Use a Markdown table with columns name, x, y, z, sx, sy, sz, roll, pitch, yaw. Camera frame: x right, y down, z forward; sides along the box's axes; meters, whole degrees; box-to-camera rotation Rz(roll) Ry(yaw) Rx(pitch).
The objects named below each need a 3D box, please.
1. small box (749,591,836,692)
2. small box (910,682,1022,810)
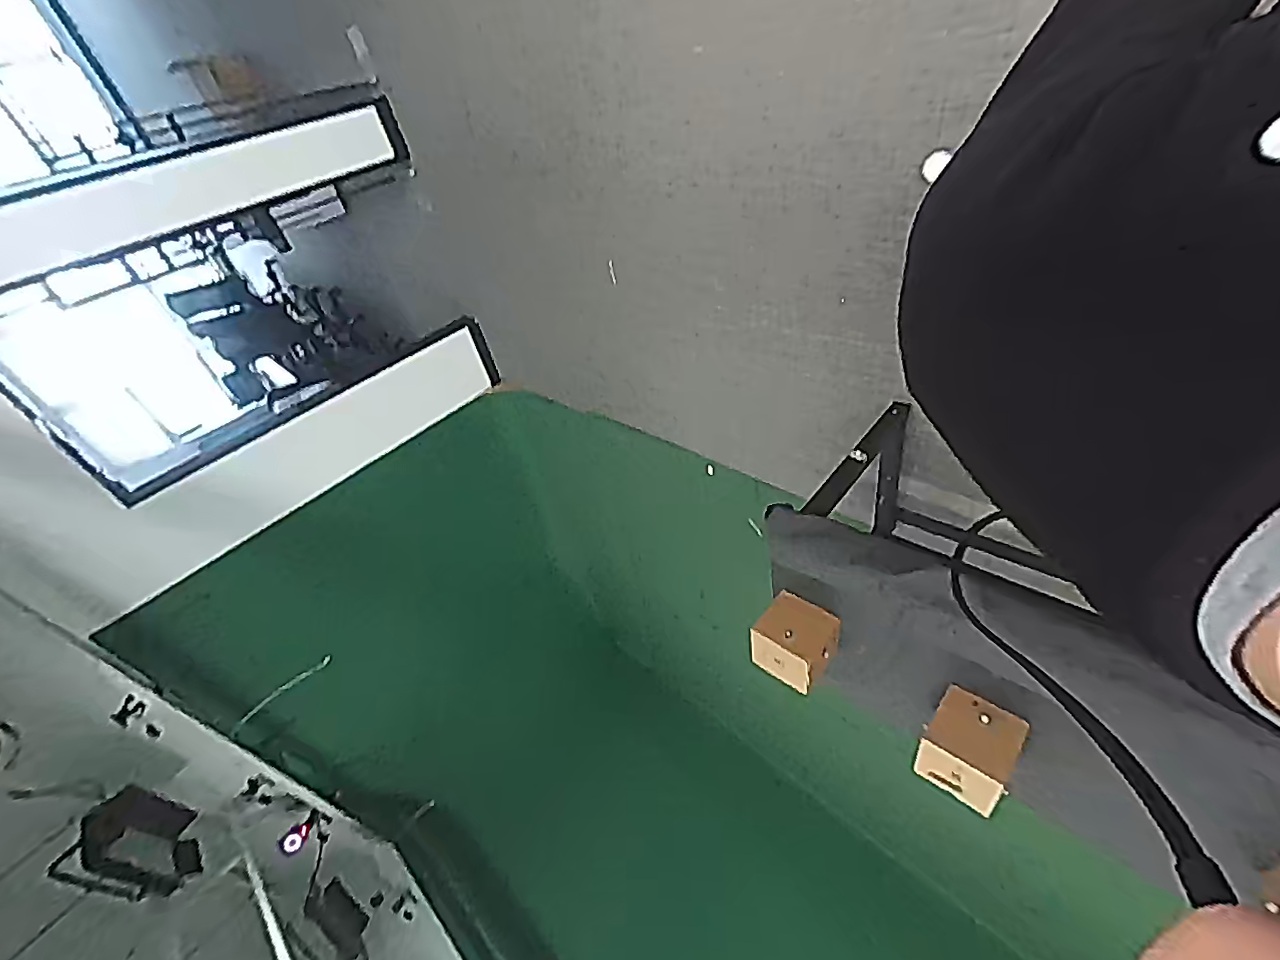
| name | x | y | z | sx | sy | sz | roll | pitch | yaw |
| --- | --- | --- | --- | --- | --- | --- | --- | --- | --- |
| small box | 0.424 | 0.441 | 1.502 | 0.179 | 0.176 | 0.168 | 26 | 142 | 36 |
| small box | 0.756 | 0.613 | 1.258 | 0.168 | 0.176 | 0.179 | 23 | 141 | 37 |
